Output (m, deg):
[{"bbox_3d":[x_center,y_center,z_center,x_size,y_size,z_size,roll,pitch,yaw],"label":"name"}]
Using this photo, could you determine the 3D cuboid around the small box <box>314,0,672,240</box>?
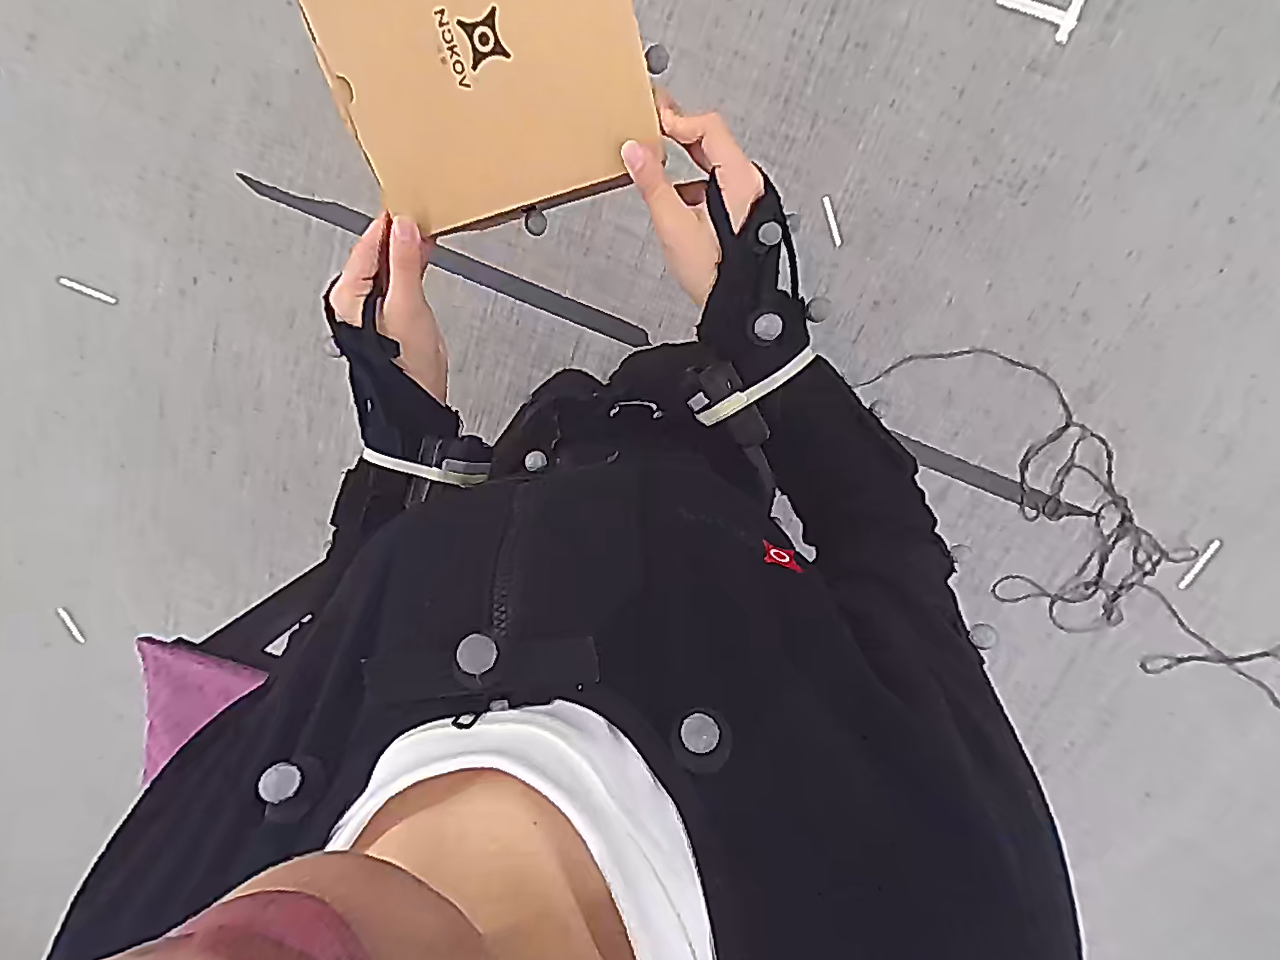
[{"bbox_3d":[-0.080,-0.279,0.372,0.179,0.176,0.168,-12,117,10],"label":"small box"}]
